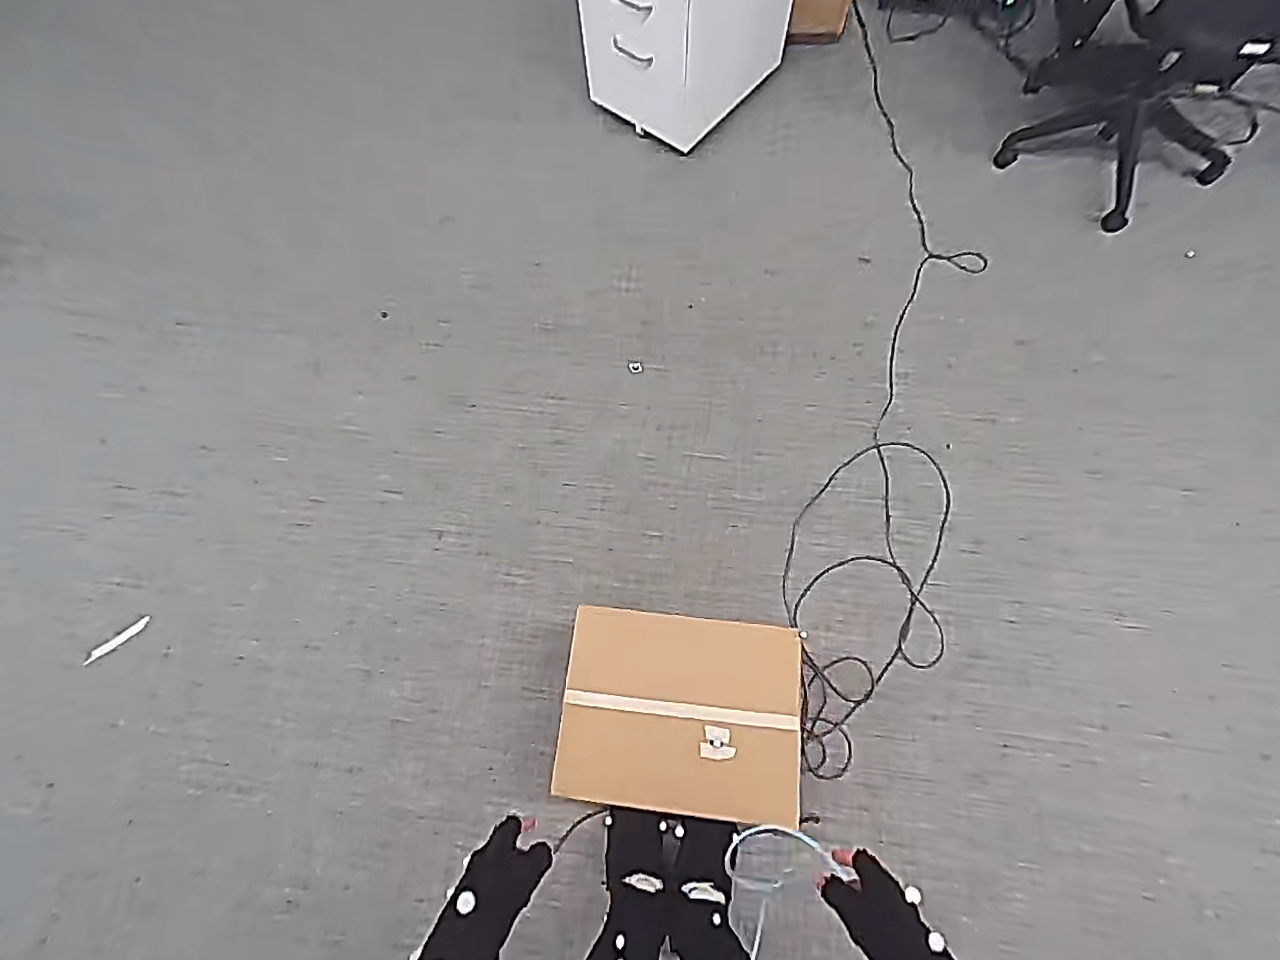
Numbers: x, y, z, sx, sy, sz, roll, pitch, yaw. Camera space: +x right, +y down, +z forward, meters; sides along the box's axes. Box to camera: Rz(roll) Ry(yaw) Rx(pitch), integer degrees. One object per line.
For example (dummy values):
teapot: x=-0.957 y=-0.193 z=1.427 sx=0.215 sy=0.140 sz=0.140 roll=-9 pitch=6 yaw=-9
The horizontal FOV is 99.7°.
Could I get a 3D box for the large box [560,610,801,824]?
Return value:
large box: x=0.082 y=0.452 z=1.074 sx=0.408 sy=0.320 sz=0.320 roll=5 pitch=70 yaw=5
